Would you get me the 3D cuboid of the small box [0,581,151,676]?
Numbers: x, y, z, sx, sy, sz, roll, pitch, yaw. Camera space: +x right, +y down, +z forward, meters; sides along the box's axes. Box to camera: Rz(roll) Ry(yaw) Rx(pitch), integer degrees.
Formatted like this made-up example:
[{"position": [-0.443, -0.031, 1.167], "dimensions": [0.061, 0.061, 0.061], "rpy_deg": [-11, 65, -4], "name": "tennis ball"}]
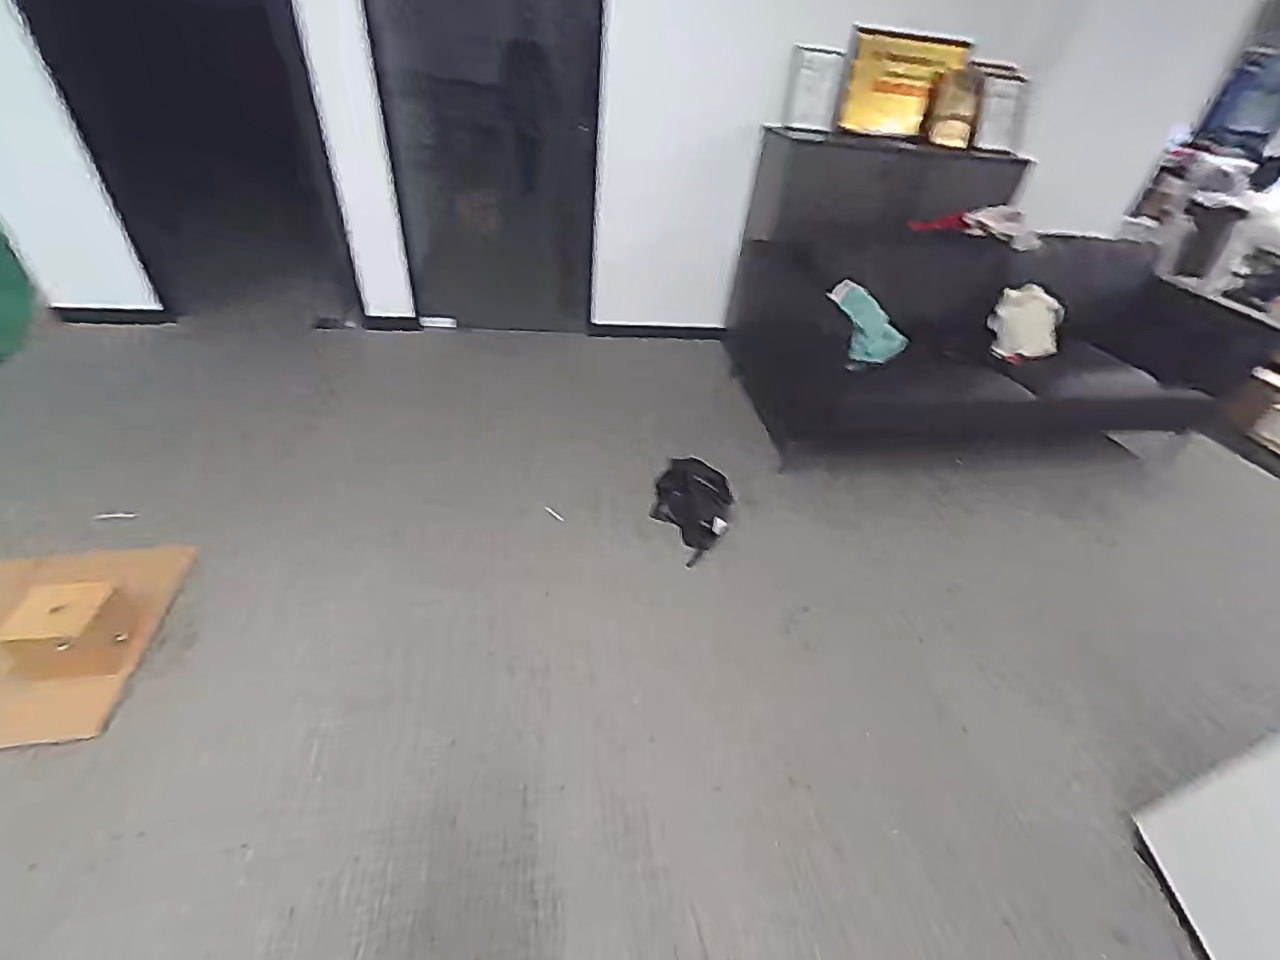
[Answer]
[{"position": [-1.409, 0.377, 1.367], "dimensions": [0.179, 0.176, 0.168], "rpy_deg": [-1, 40, -11], "name": "small box"}]
